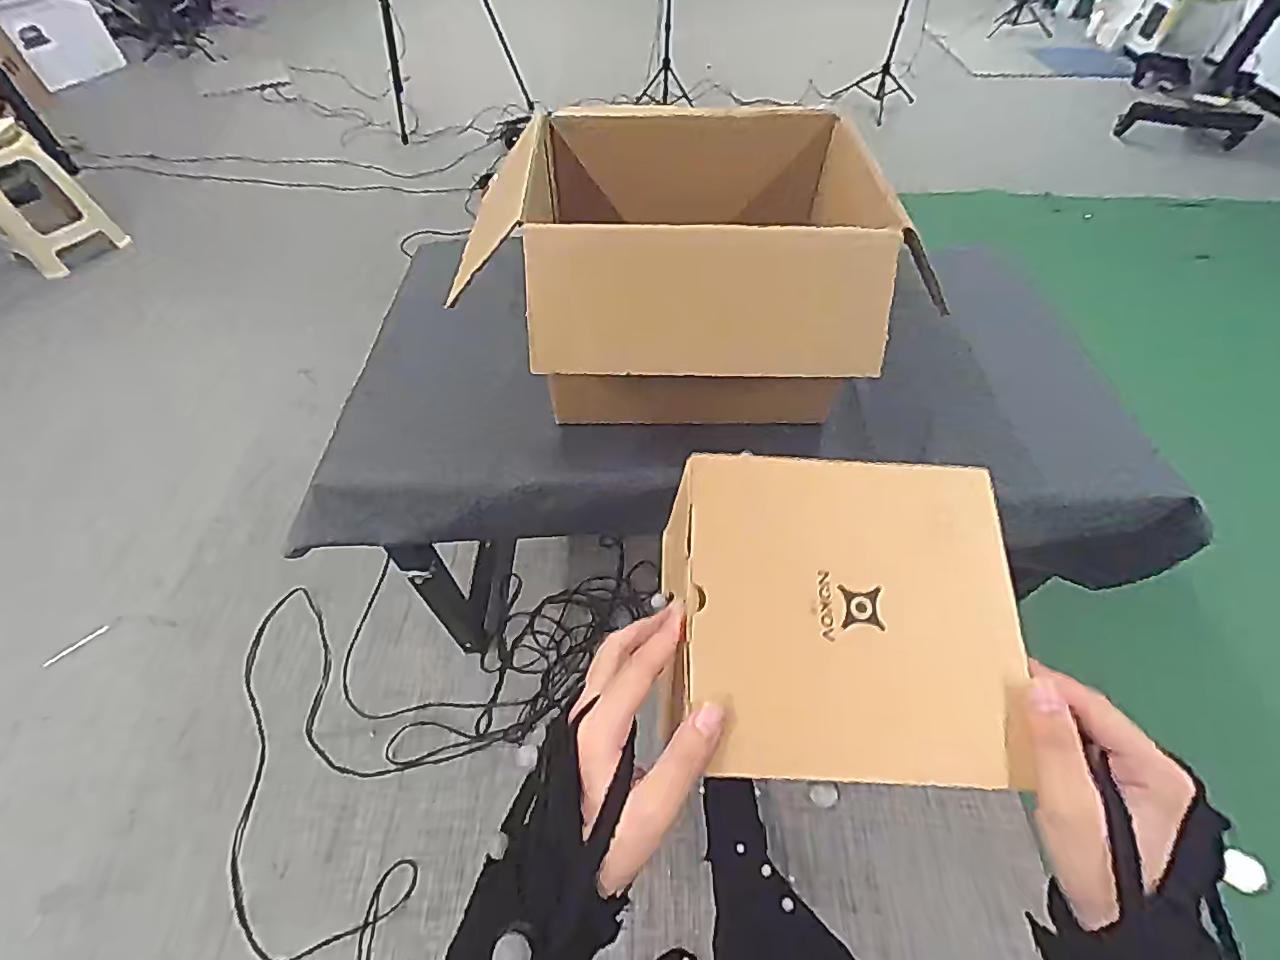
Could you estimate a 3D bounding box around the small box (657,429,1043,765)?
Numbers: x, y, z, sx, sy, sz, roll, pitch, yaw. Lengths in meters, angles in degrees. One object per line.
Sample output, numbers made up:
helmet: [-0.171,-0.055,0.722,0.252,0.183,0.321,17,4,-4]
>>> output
small box: [0.107,0.080,0.356,0.179,0.176,0.168,3,70,-1]
